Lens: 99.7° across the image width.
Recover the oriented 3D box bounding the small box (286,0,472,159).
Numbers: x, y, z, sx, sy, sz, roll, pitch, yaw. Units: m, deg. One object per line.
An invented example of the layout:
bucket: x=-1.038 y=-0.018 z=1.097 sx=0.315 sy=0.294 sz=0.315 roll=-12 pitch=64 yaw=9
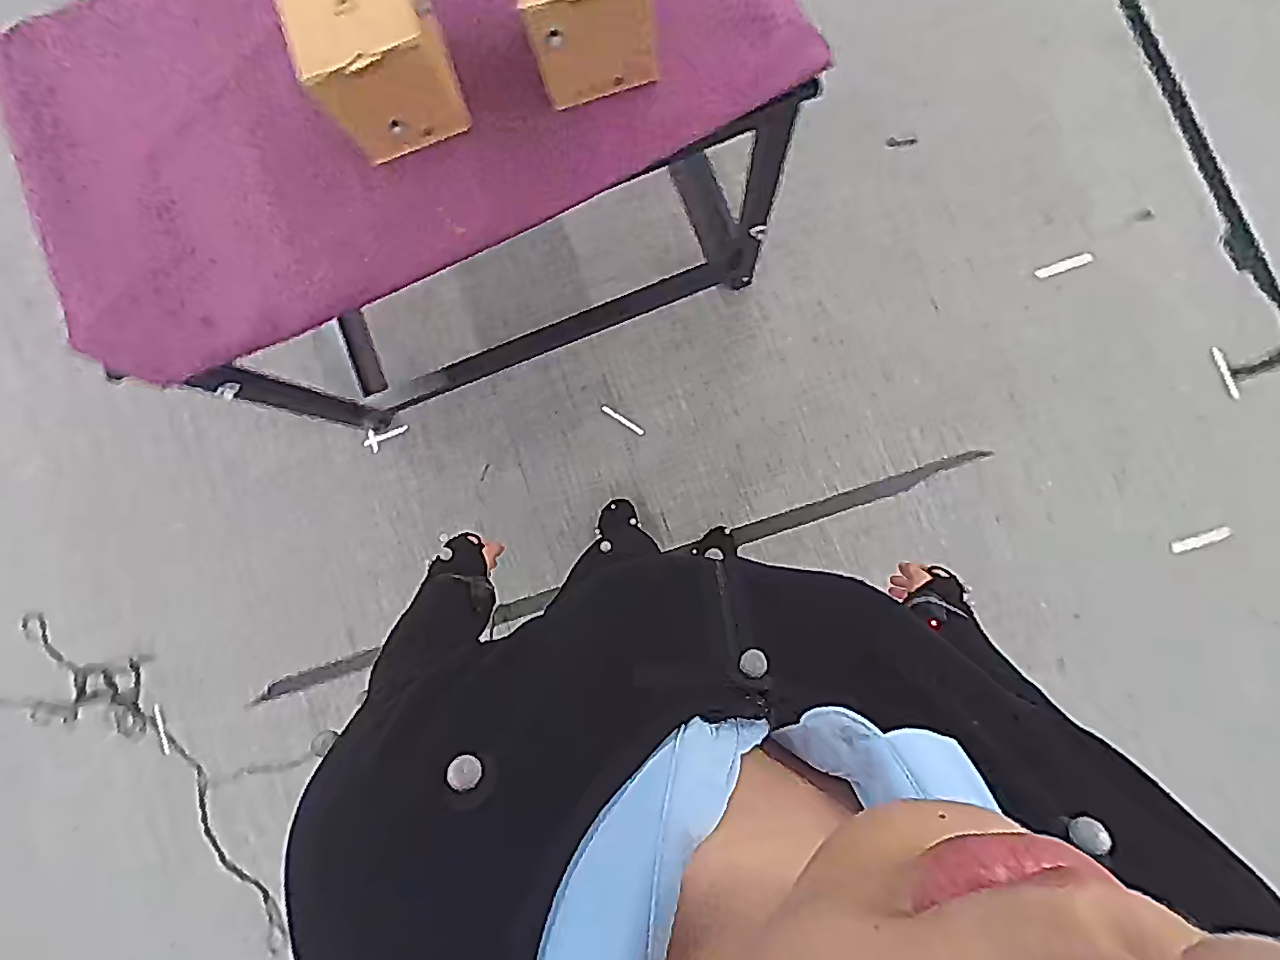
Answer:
small box: x=-0.366 y=-0.610 z=0.772 sx=0.168 sy=0.176 sz=0.179 roll=-18 pitch=86 yaw=3
